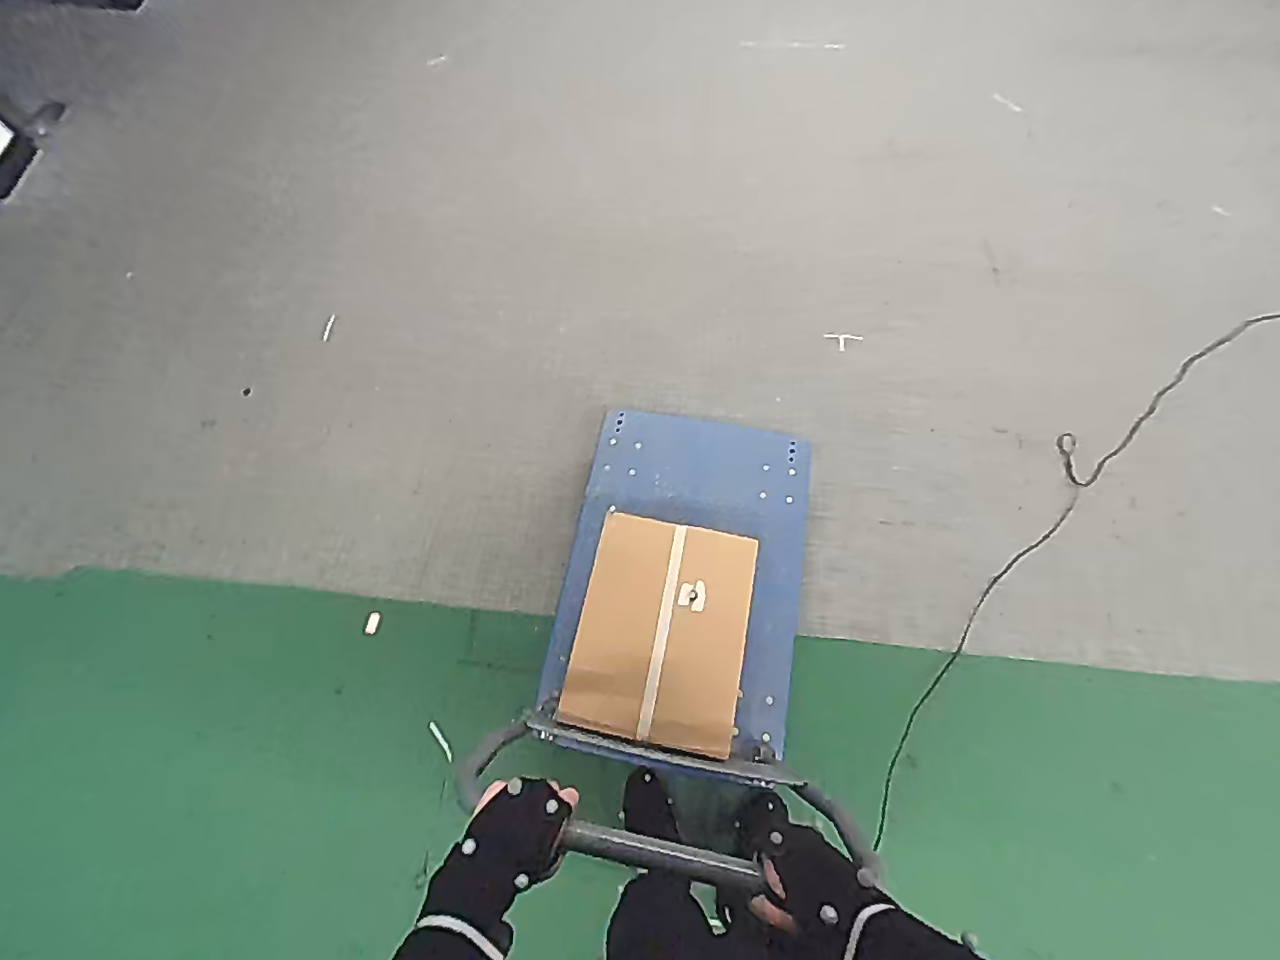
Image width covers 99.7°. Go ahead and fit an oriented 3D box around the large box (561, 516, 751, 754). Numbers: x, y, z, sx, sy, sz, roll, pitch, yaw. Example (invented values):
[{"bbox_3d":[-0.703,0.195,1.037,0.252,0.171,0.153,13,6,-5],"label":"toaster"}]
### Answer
[{"bbox_3d":[0.042,0.335,1.164,0.320,0.320,0.408,10,68,4],"label":"large box"}]
